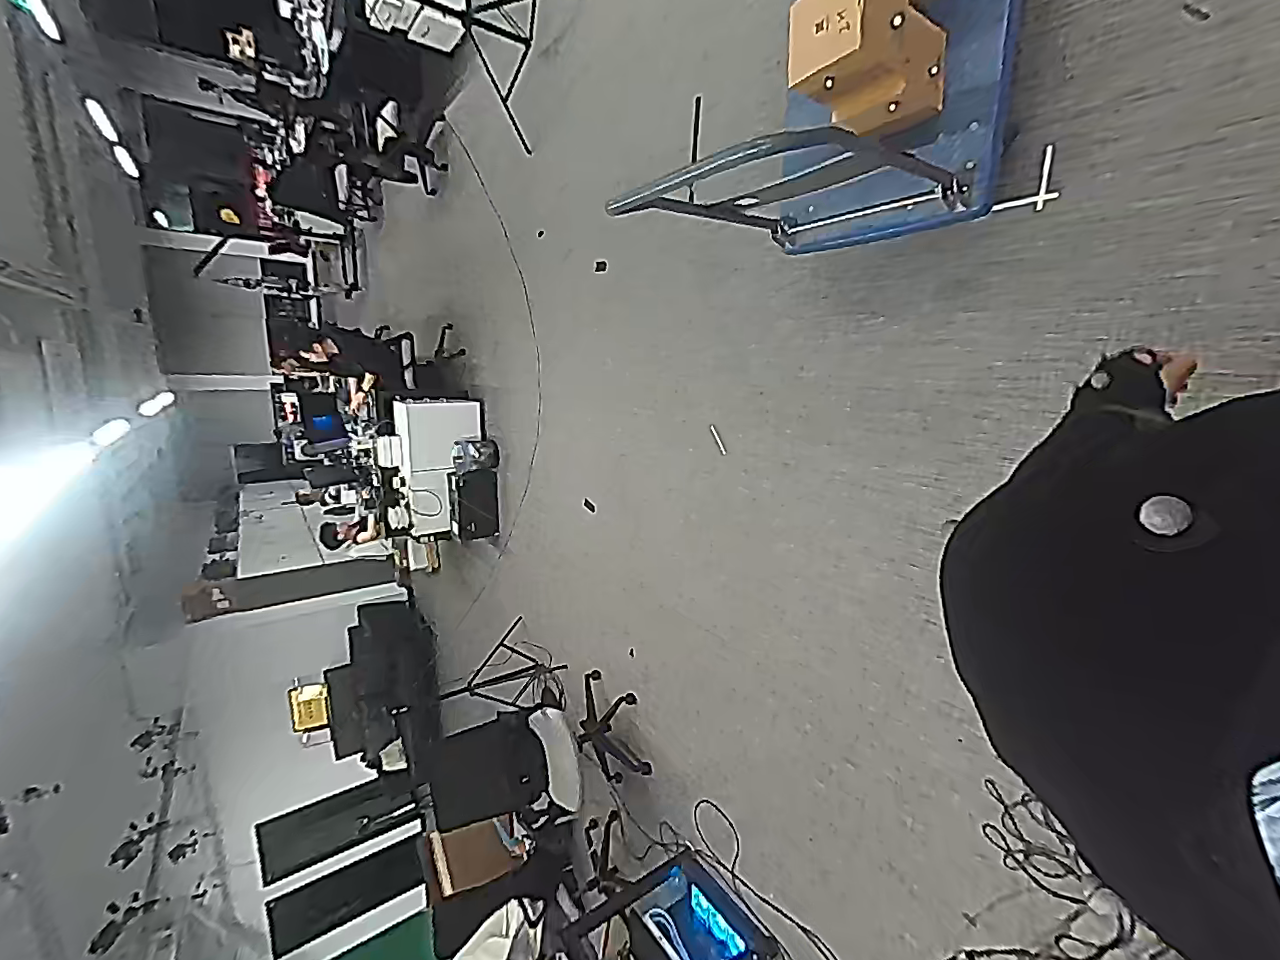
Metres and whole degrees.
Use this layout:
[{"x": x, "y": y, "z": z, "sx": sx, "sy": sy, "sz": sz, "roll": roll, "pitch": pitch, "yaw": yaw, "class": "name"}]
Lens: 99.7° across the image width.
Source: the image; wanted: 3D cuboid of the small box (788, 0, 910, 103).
[{"x": 0.437, "y": -0.934, "z": 1.137, "sx": 0.179, "sy": 0.176, "sz": 0.168, "roll": 11, "pitch": 105, "yaw": 53, "class": "small box"}]

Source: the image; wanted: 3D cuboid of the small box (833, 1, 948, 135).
[{"x": 0.570, "y": -0.925, "z": 1.236, "sx": 0.179, "sy": 0.176, "sz": 0.168, "roll": 10, "pitch": 104, "yaw": 53, "class": "small box"}]
